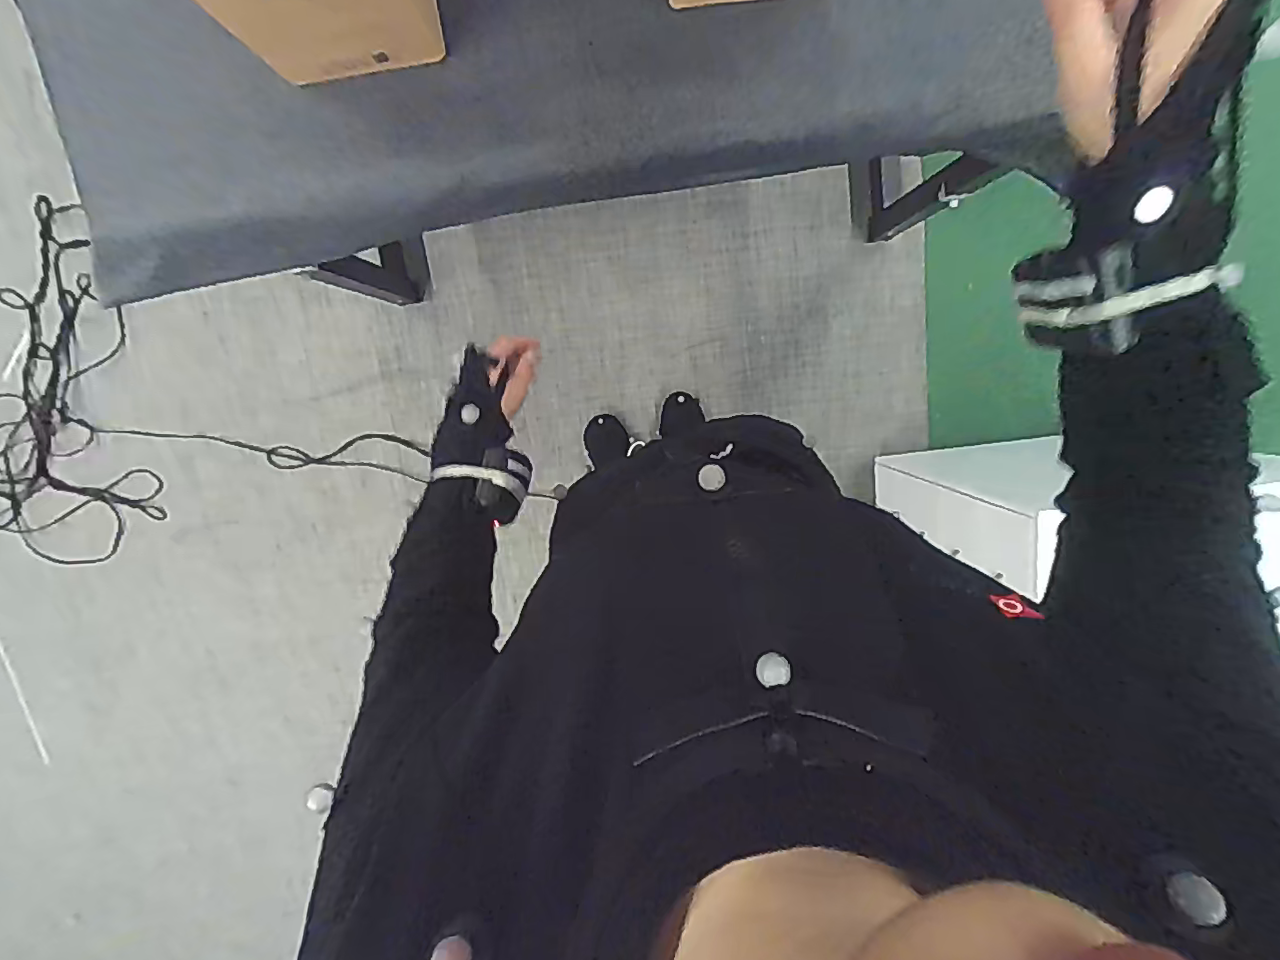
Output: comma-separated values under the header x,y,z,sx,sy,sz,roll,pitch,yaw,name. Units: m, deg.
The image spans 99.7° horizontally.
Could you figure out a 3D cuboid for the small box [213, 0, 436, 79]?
x,y,z,sx,sy,sz,roll,pitch,yaw,name
-0.293,-0.487,0.454,0.168,0.176,0.179,-9,100,0,small box
